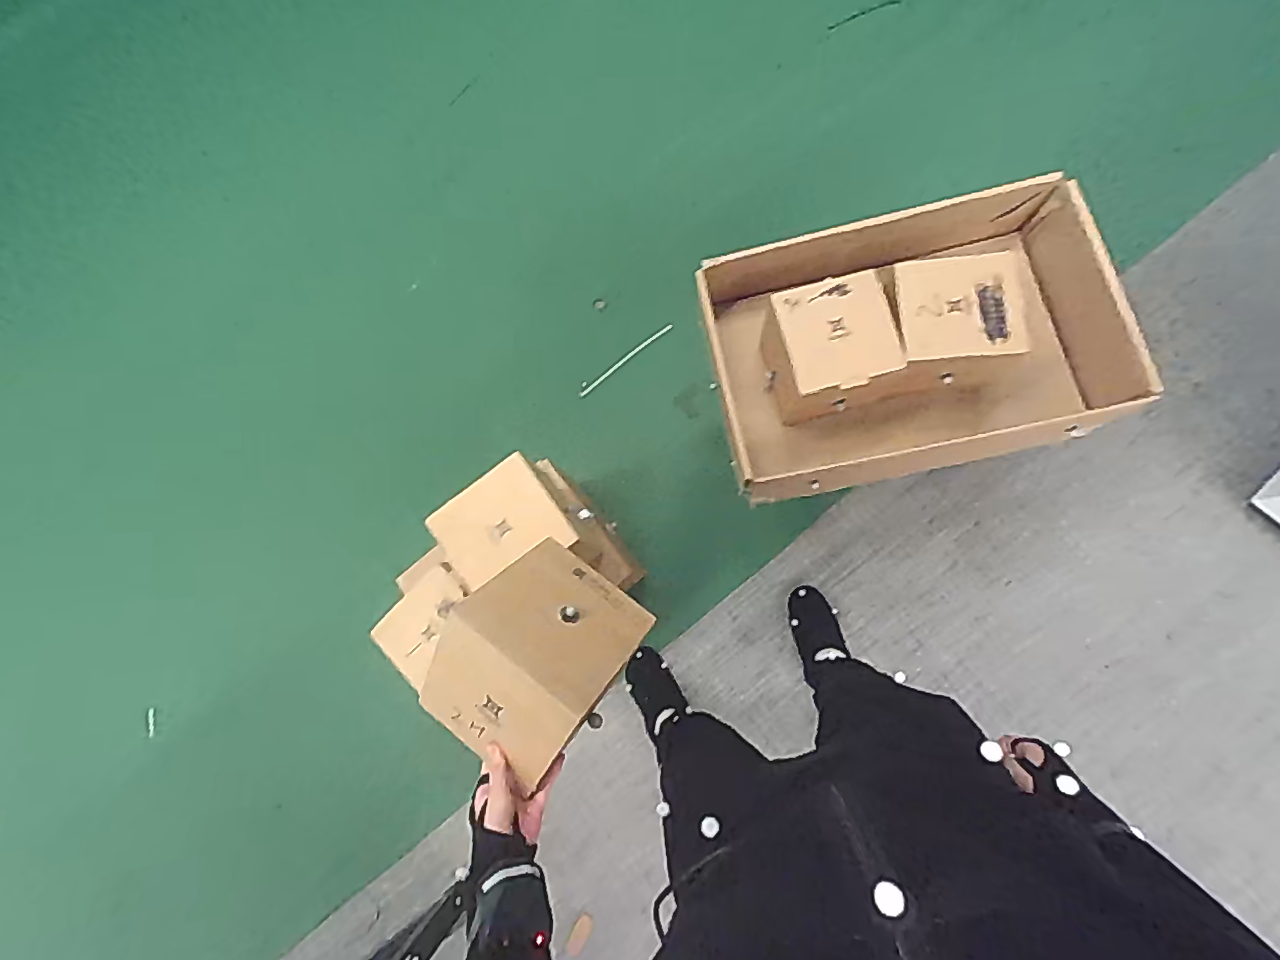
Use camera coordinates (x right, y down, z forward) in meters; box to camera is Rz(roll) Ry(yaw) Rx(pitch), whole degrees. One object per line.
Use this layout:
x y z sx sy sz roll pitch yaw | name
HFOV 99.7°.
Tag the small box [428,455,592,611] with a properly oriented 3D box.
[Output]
-0.193 0.087 0.868 0.179 0.176 0.168 -37 78 0 | small box
